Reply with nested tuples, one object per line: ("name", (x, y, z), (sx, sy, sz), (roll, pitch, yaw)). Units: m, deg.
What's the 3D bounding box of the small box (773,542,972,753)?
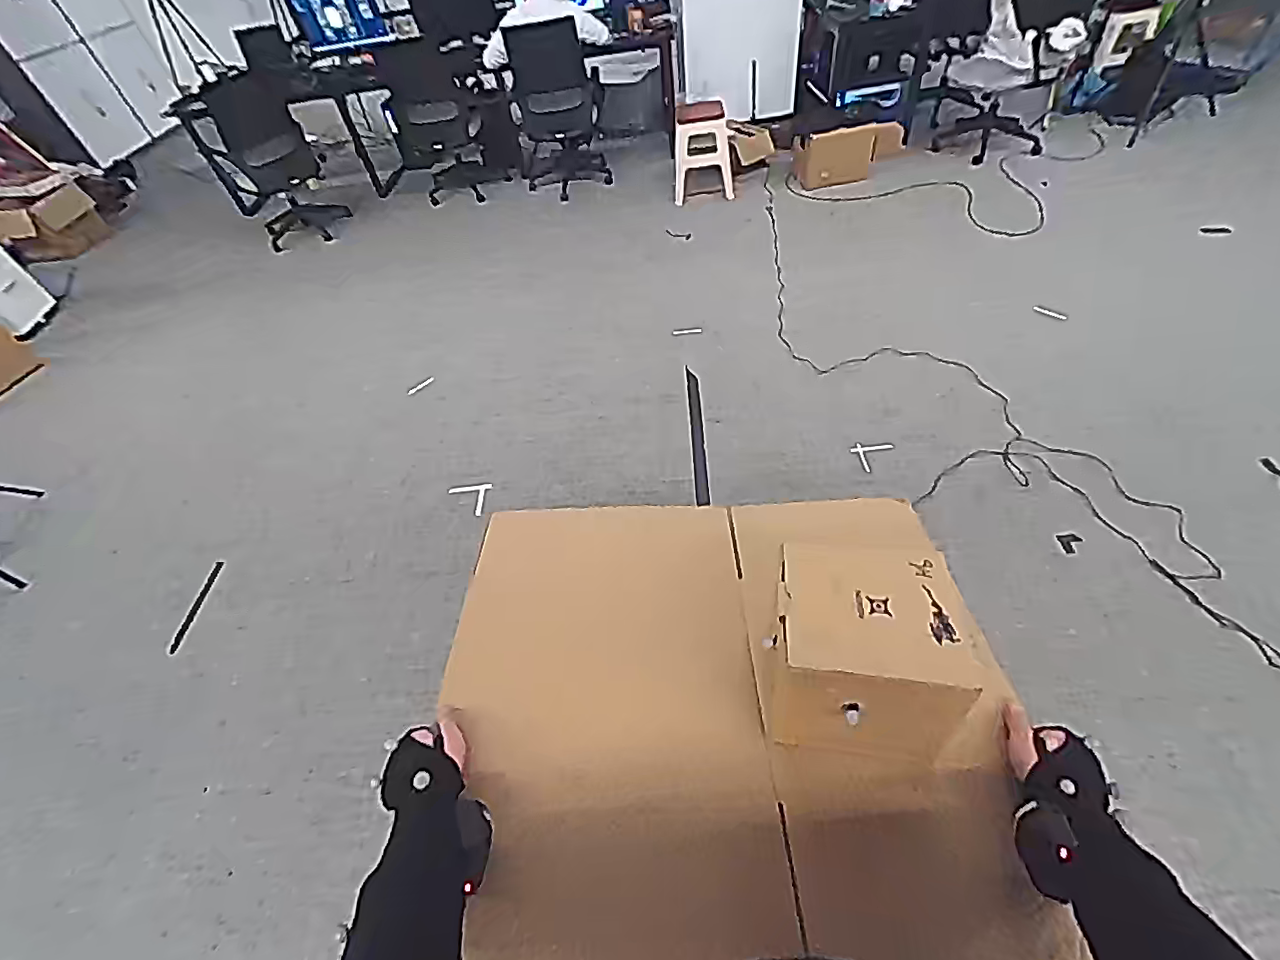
("small box", (0.245, 0.191, 0.622), (0.179, 0.176, 0.168), (2, 42, 11))
